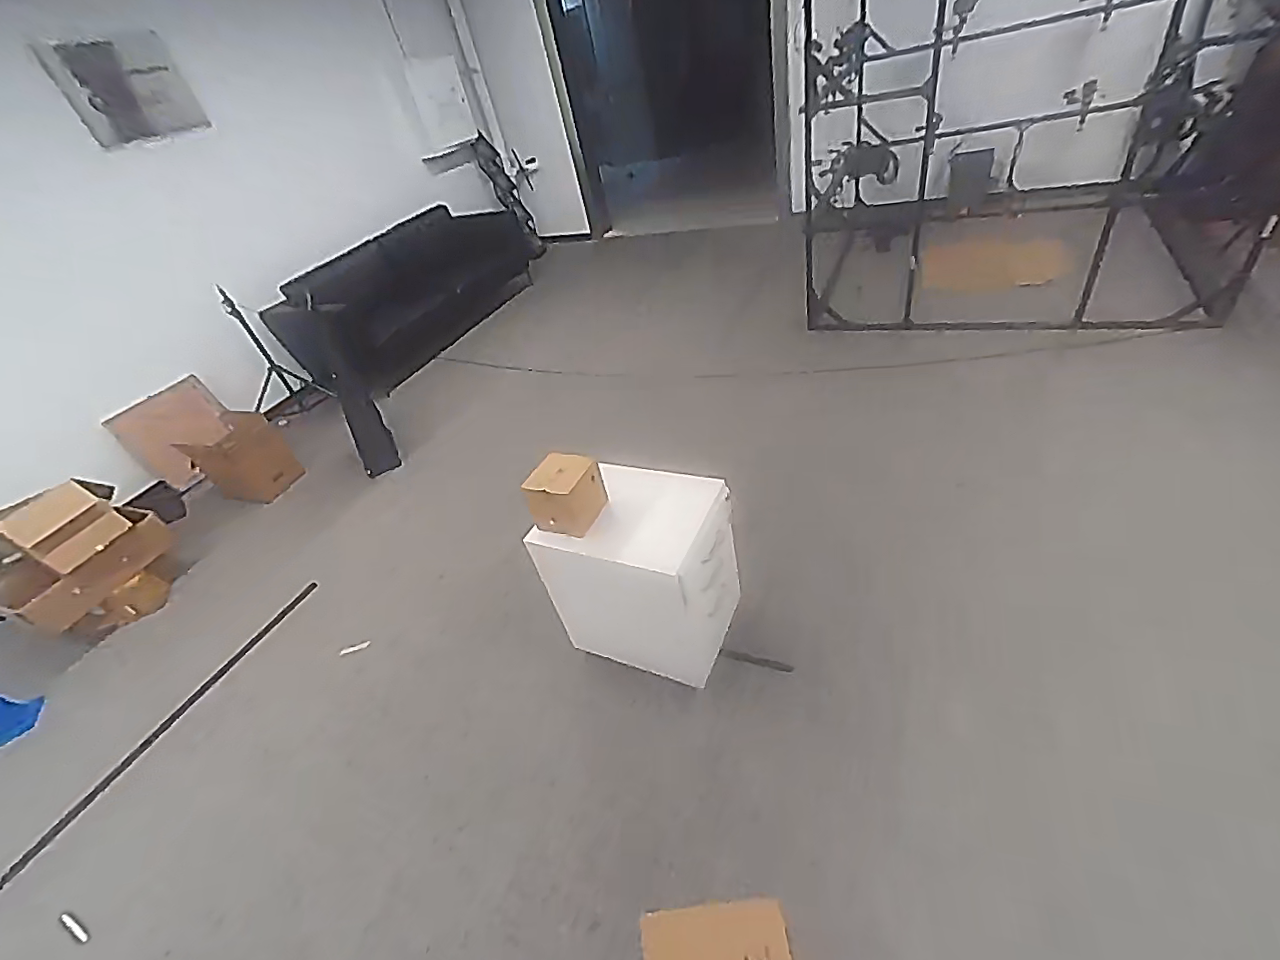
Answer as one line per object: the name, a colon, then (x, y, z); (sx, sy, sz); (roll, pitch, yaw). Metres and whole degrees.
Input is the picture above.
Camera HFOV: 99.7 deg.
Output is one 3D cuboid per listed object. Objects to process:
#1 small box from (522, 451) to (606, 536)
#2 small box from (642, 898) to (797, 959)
small box: (-0.215, 0.037, 1.606); (0.168, 0.176, 0.179); (7, 44, 27)
small box: (0.103, 0.630, 0.654); (0.179, 0.176, 0.168); (-9, 42, 1)
